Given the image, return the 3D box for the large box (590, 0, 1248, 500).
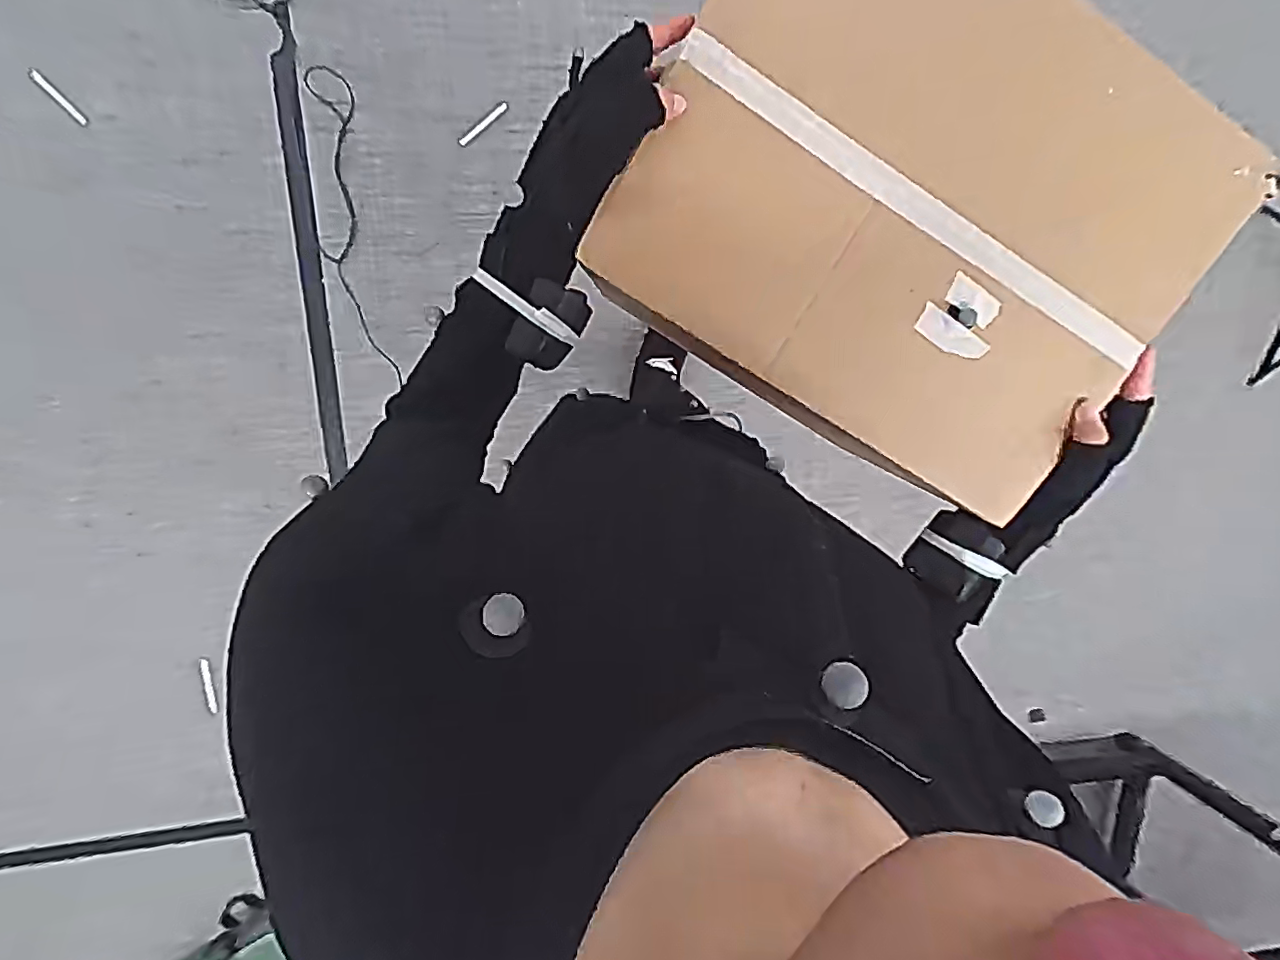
[{"bbox_3d":[0.201,-0.239,0.546,0.408,0.320,0.320,30,103,-8],"label":"large box"}]
